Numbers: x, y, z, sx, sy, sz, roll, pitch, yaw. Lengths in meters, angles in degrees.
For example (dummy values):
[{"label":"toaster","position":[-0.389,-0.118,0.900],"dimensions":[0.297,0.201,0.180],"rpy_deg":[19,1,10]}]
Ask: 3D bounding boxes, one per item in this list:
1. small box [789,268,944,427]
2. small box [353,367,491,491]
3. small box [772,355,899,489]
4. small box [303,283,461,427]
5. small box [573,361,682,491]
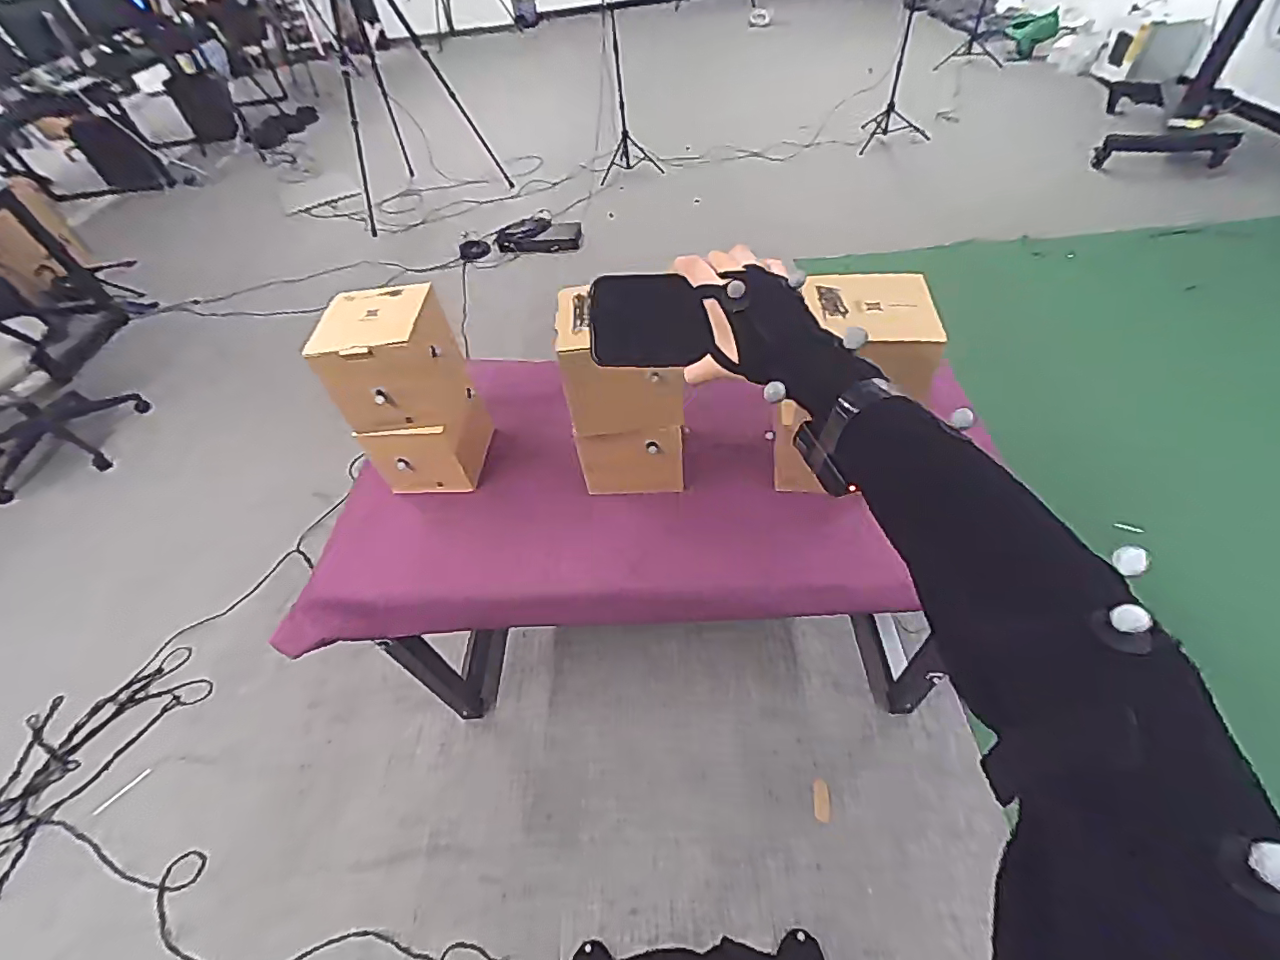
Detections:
[{"label":"small box","position":[0.316,-0.193,0.800],"dimensions":[0.179,0.176,0.168],"rpy_deg":[2,50,9]},{"label":"small box","position":[-0.400,-0.090,1.031],"dimensions":[0.168,0.176,0.179],"rpy_deg":[-2,49,6]},{"label":"small box","position":[0.325,-0.098,0.934],"dimensions":[0.179,0.176,0.168],"rpy_deg":[2,50,10]},{"label":"small box","position":[-0.417,-0.203,0.912],"dimensions":[0.168,0.176,0.179],"rpy_deg":[-6,50,2]},{"label":"small box","position":[-0.012,-0.094,0.977],"dimensions":[0.179,0.176,0.168],"rpy_deg":[-3,49,6]}]
